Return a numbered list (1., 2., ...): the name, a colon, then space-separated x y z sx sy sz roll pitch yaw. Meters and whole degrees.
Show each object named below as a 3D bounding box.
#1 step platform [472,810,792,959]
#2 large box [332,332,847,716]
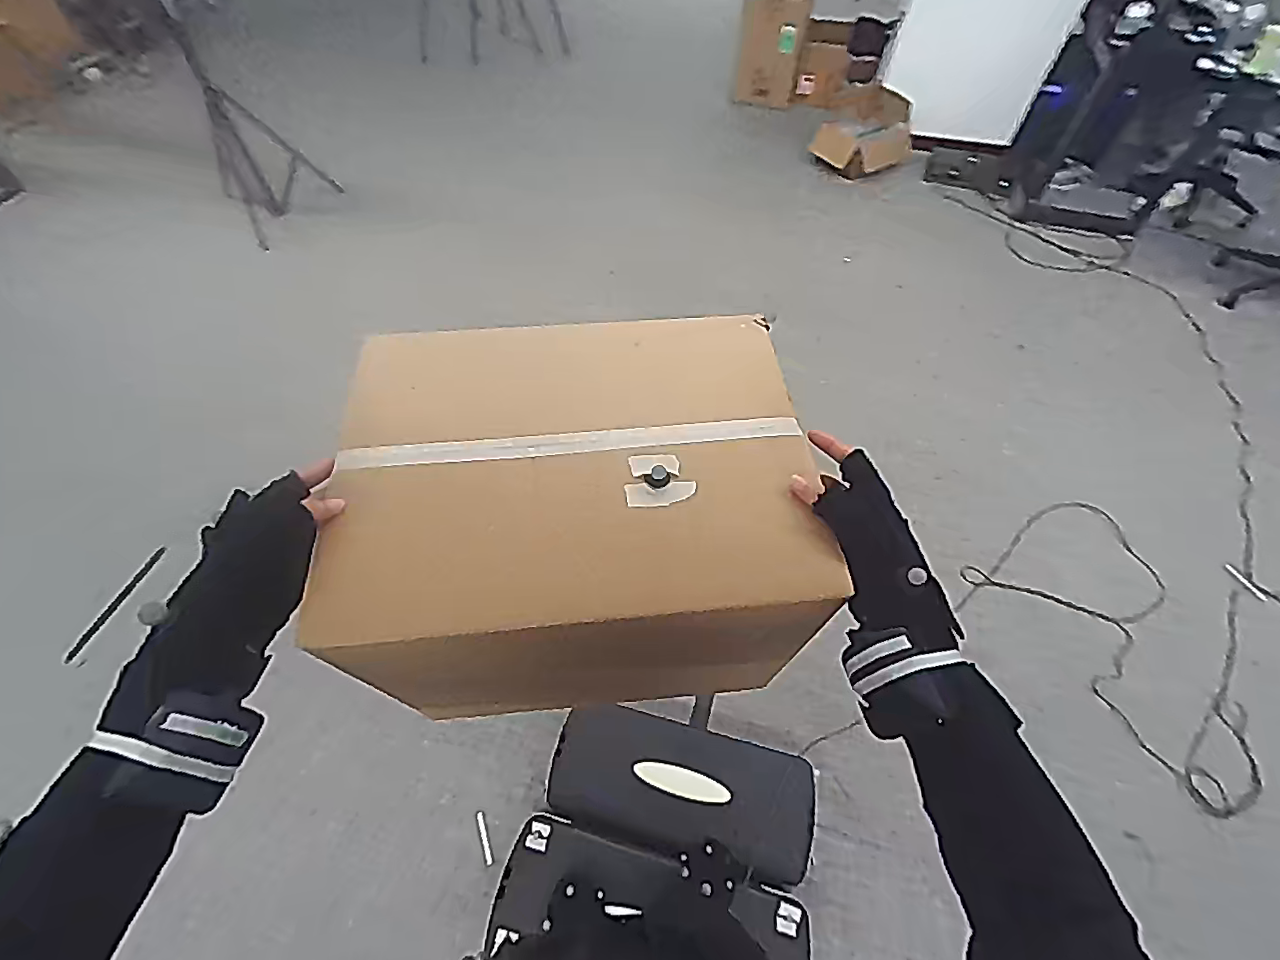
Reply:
1. step platform: -0.014 0.991 1.208 0.684 0.204 0.286 12 57 9
2. large box: -0.051 0.060 0.615 0.408 0.320 0.320 -3 58 -4
